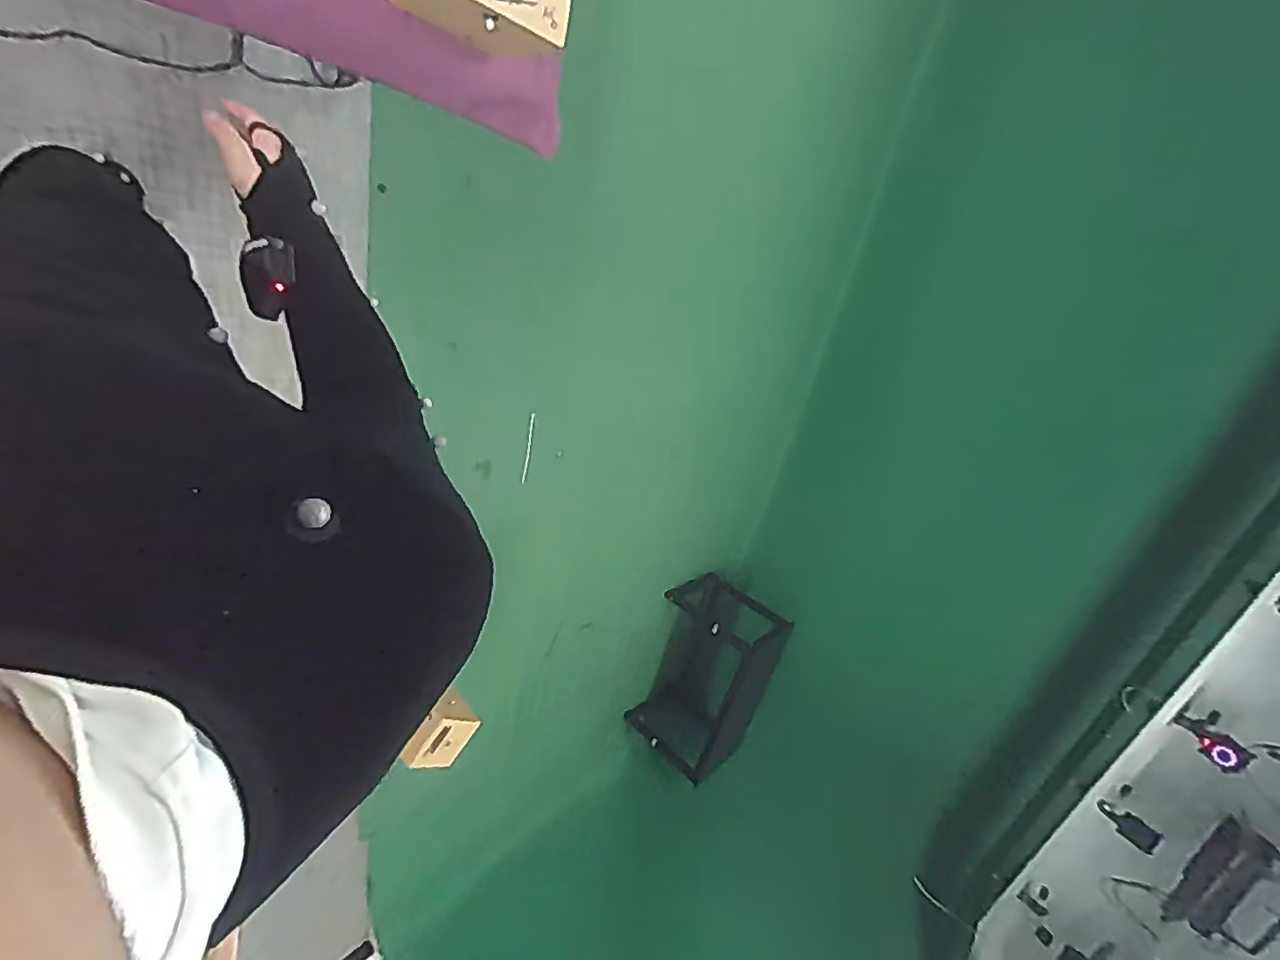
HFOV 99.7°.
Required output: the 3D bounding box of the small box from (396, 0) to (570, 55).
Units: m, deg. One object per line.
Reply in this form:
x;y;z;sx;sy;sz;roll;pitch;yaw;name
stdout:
-0.198;-0.674;0.681;0.168;0.176;0.179;-12;122;-47;small box
